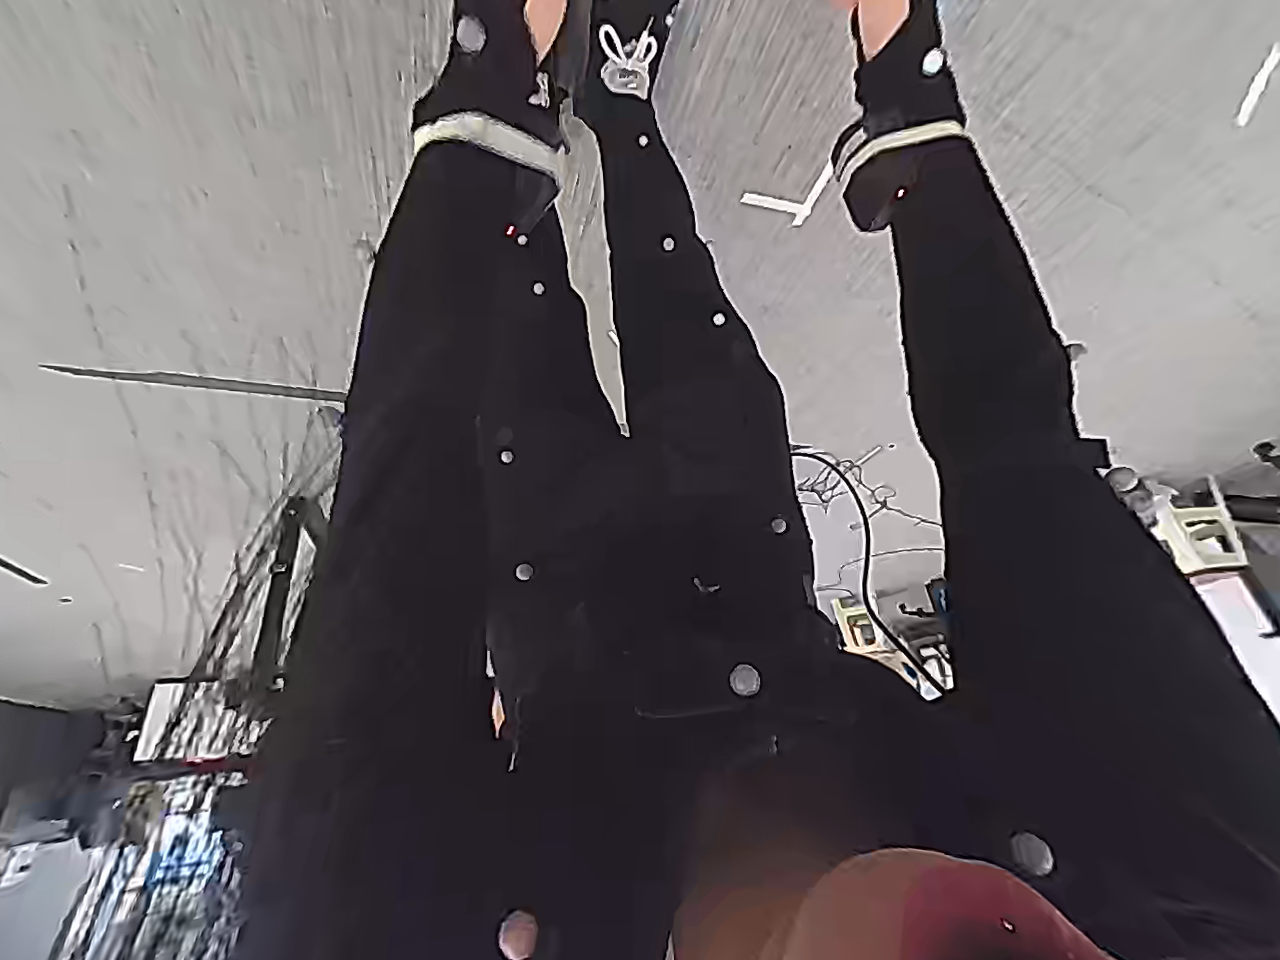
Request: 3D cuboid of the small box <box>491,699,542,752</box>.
[{"bbox_3d":[-0.480,0.945,2.086,0.168,0.176,0.179,4,151,-20],"label":"small box"}]
